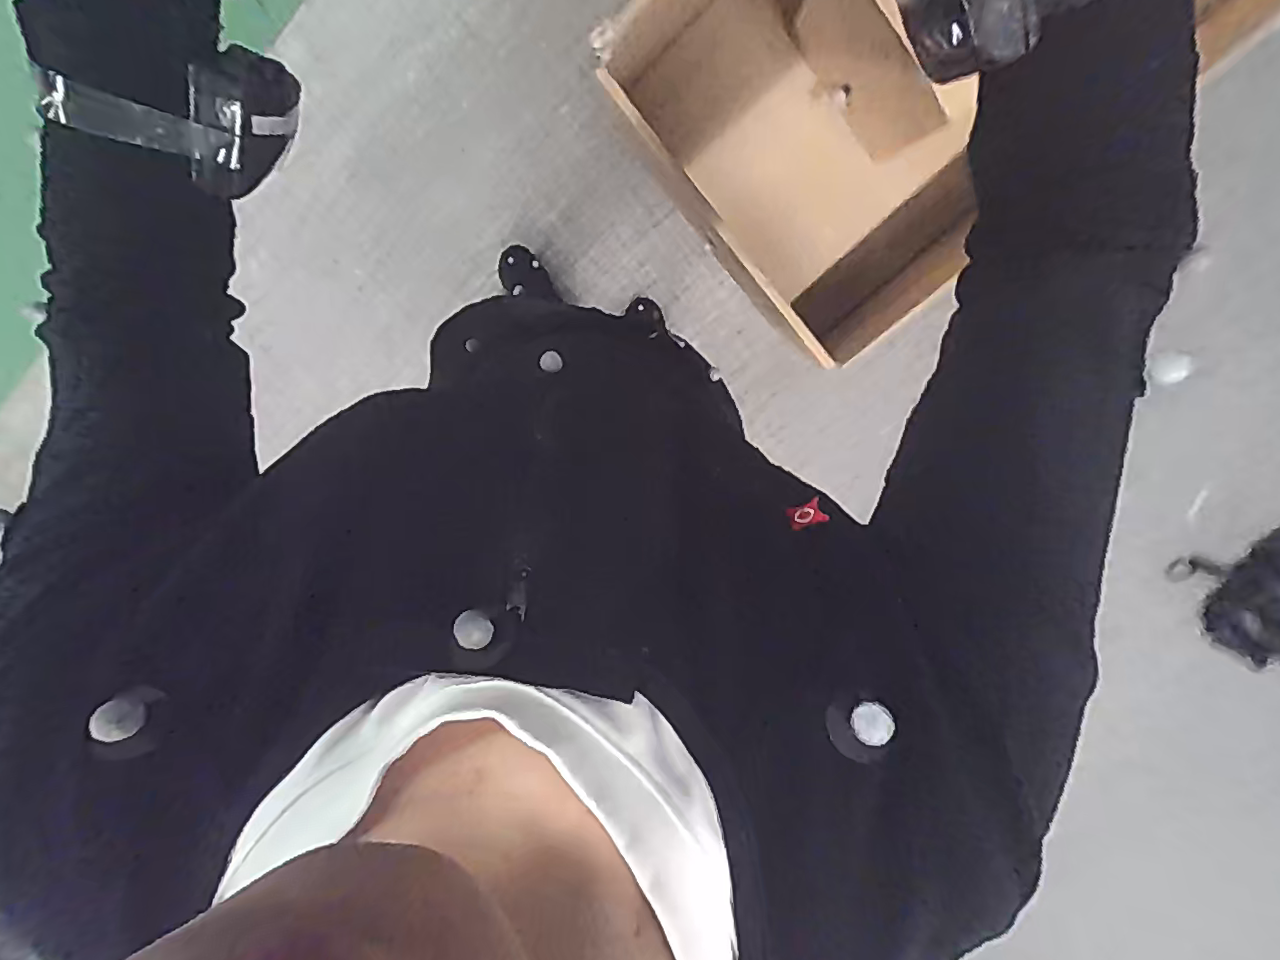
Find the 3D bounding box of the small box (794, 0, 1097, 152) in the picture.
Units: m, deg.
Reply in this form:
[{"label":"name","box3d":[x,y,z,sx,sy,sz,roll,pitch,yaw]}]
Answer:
[{"label":"small box","box3d":[0.280,-0.452,0.520,0.168,0.176,0.179,-41,104,13]}]
